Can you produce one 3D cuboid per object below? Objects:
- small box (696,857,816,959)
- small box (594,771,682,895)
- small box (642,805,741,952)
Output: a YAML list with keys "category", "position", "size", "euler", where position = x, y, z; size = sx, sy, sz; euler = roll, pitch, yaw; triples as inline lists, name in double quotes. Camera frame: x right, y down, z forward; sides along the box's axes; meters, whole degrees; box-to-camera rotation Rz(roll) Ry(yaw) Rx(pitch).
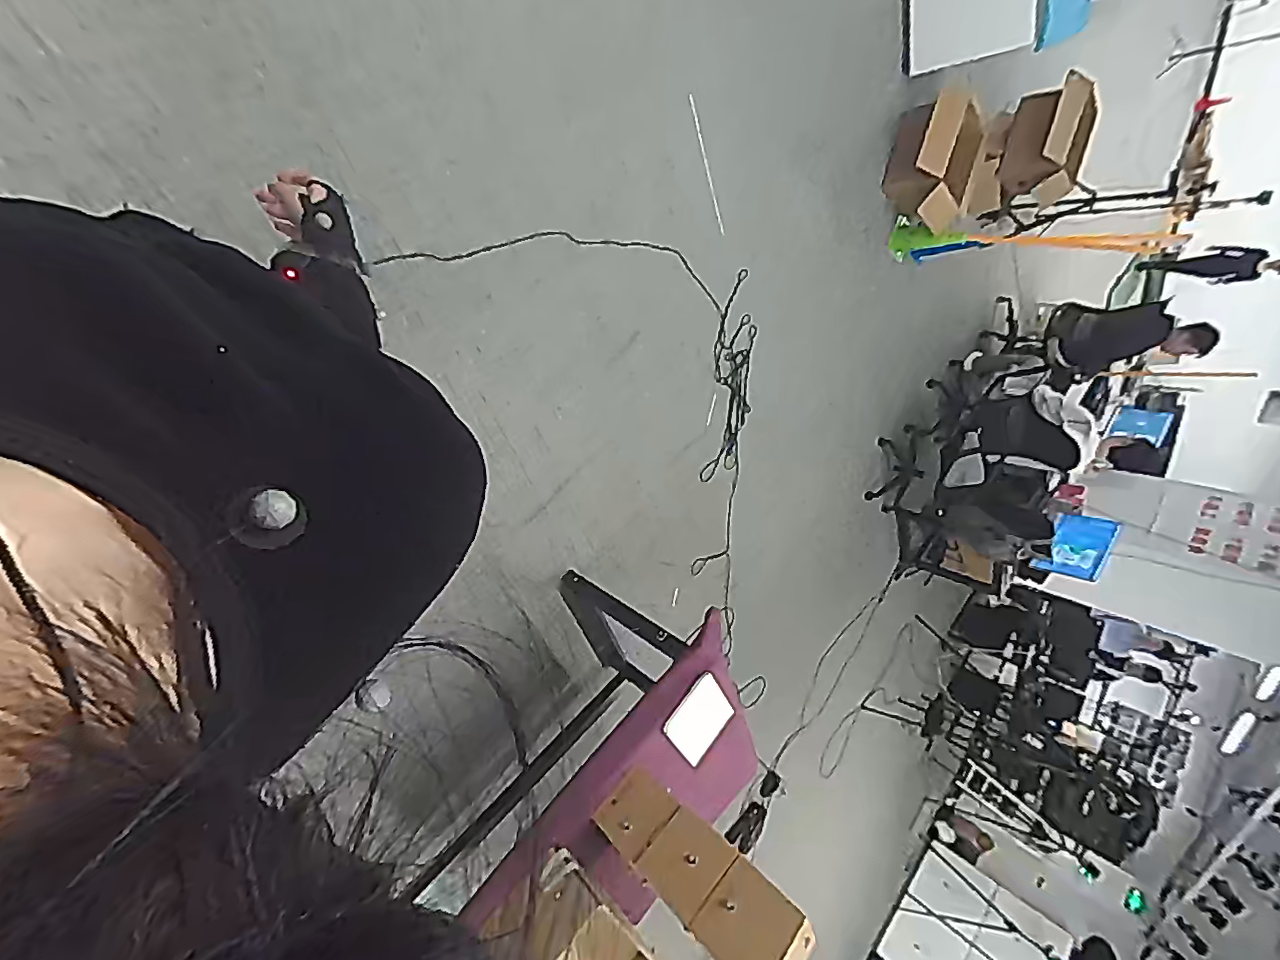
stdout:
- category: "small box"
  position: [0.232, 0.933, 1.105]
  size: [0.179, 0.176, 0.168]
  euler: [-39, 129, -26]
- category: "small box"
  position: [0.012, 0.862, 1.338]
  size: [0.168, 0.176, 0.179]
  euler: [-39, 129, -27]
- category: "small box"
  position: [0.123, 0.891, 1.221]
  size: [0.179, 0.176, 0.168]
  euler: [-39, 129, -27]
